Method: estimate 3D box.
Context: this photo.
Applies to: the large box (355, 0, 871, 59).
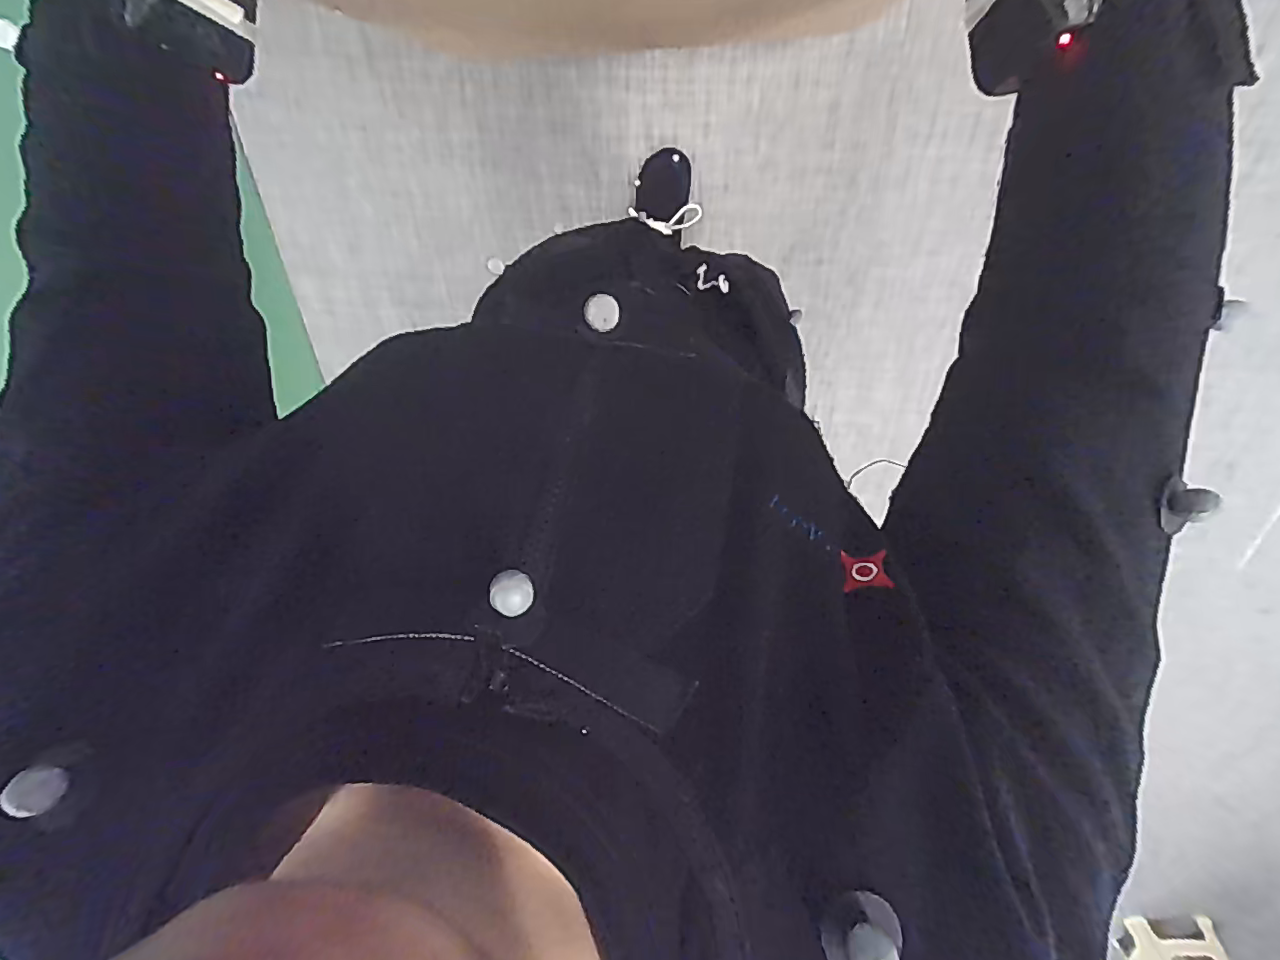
[{"bbox_3d":[-0.003,-0.499,0.340,0.408,0.320,0.320,-2,122,5],"label":"large box"}]
